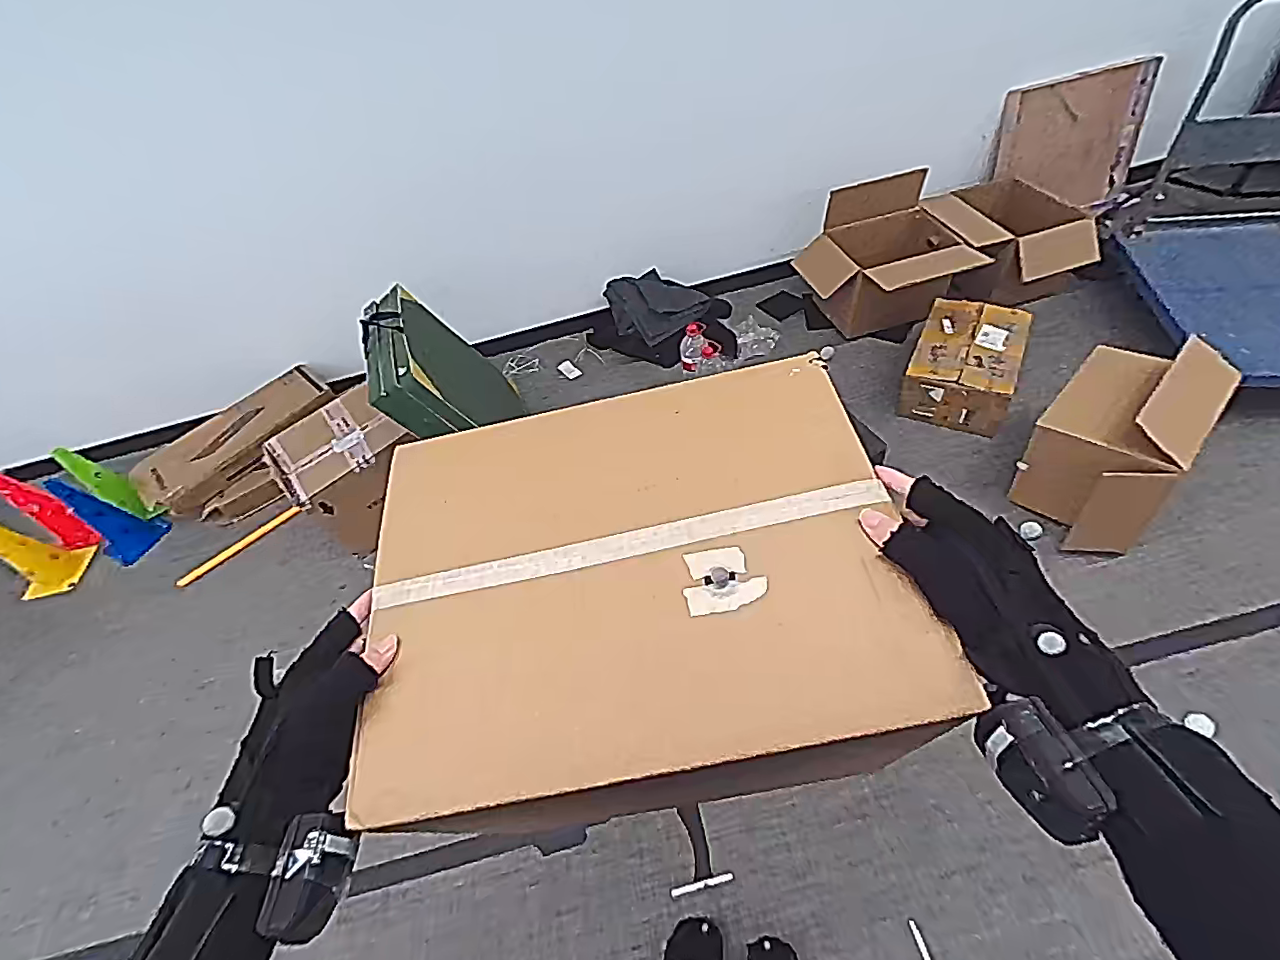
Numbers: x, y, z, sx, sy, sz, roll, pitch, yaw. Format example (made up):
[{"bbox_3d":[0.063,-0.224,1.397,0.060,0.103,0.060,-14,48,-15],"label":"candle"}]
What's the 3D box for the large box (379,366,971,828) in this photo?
[{"bbox_3d":[0.018,0.138,0.555,0.408,0.320,0.320,-12,56,2],"label":"large box"}]
